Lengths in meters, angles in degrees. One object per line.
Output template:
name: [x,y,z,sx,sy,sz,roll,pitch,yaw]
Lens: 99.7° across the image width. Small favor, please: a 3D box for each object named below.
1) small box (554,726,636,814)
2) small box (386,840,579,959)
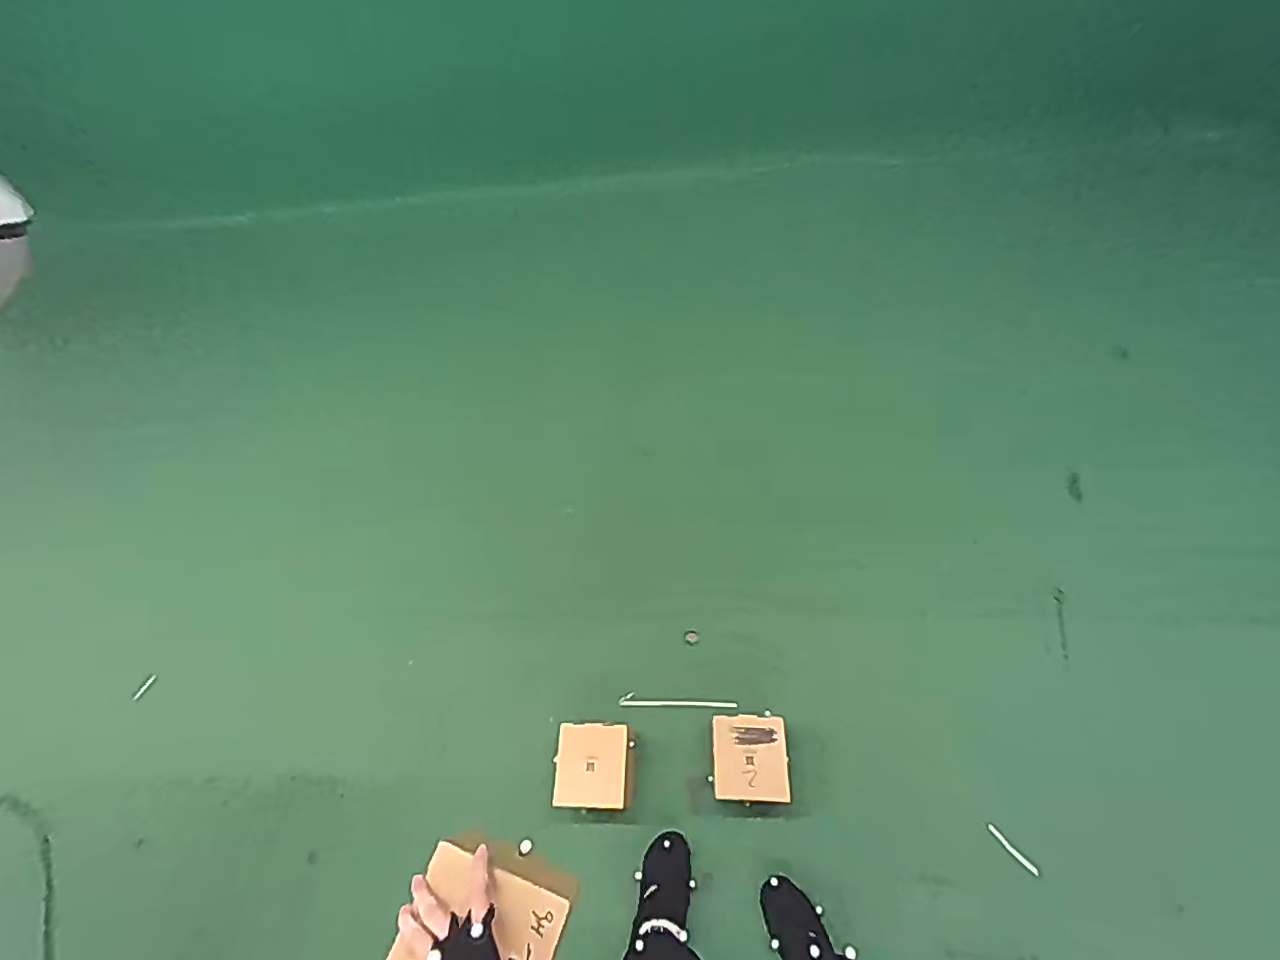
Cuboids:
small box: [-0.103,0.711,1.329,0.168,0.176,0.179,-1,59,7]
small box: [-0.189,0.567,0.662,0.179,0.176,0.168,19,64,9]
